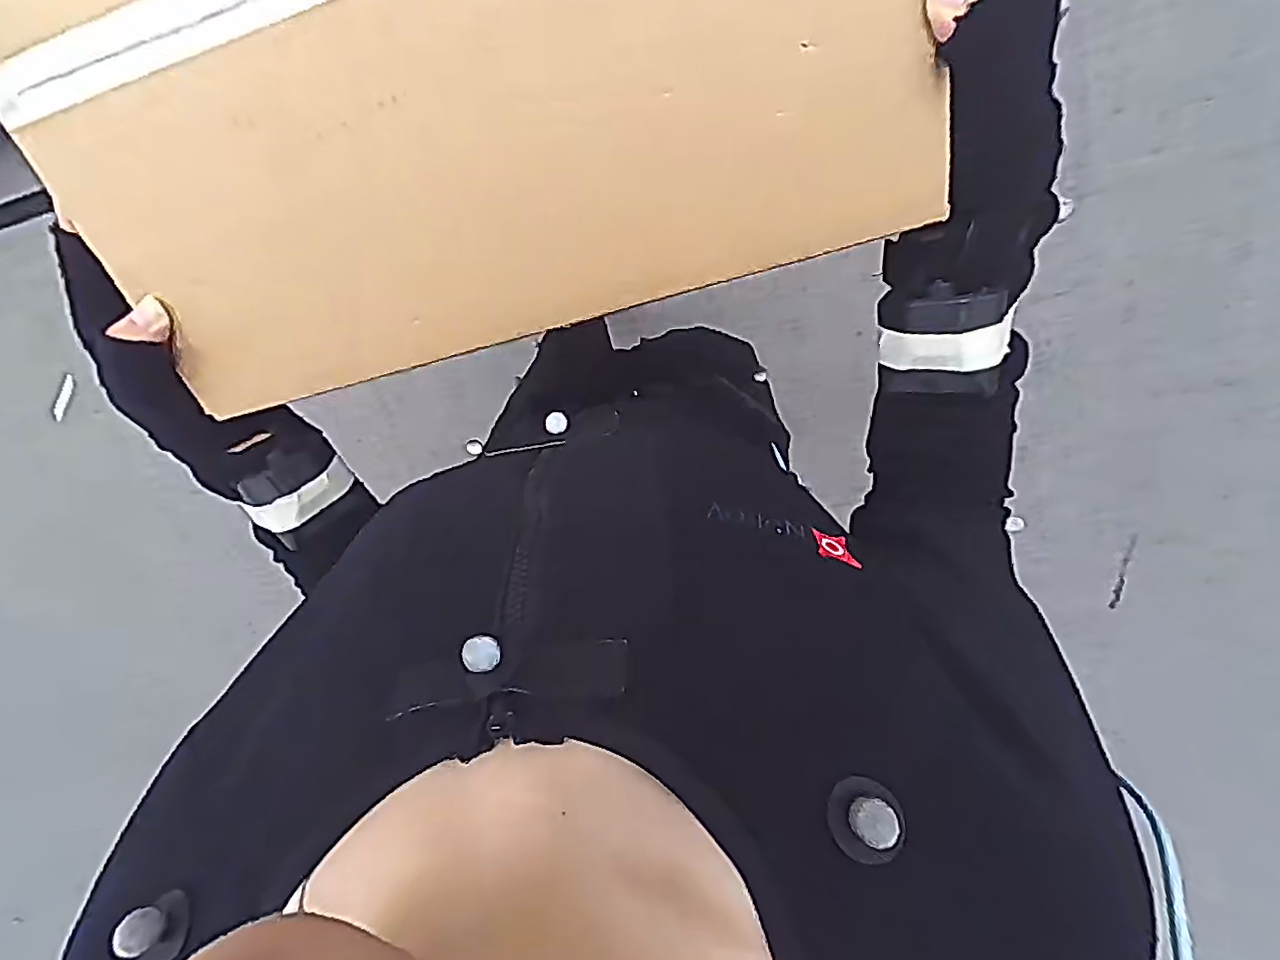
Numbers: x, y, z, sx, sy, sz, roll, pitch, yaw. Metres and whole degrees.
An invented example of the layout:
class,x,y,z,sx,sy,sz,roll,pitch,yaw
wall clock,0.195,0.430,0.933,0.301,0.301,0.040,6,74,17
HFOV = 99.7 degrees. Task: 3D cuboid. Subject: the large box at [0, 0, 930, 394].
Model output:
class,x,y,z,sx,sy,sz,roll,pitch,yaw
large box,-0.090,-0.294,0.353,0.408,0.320,0.320,-13,118,9
